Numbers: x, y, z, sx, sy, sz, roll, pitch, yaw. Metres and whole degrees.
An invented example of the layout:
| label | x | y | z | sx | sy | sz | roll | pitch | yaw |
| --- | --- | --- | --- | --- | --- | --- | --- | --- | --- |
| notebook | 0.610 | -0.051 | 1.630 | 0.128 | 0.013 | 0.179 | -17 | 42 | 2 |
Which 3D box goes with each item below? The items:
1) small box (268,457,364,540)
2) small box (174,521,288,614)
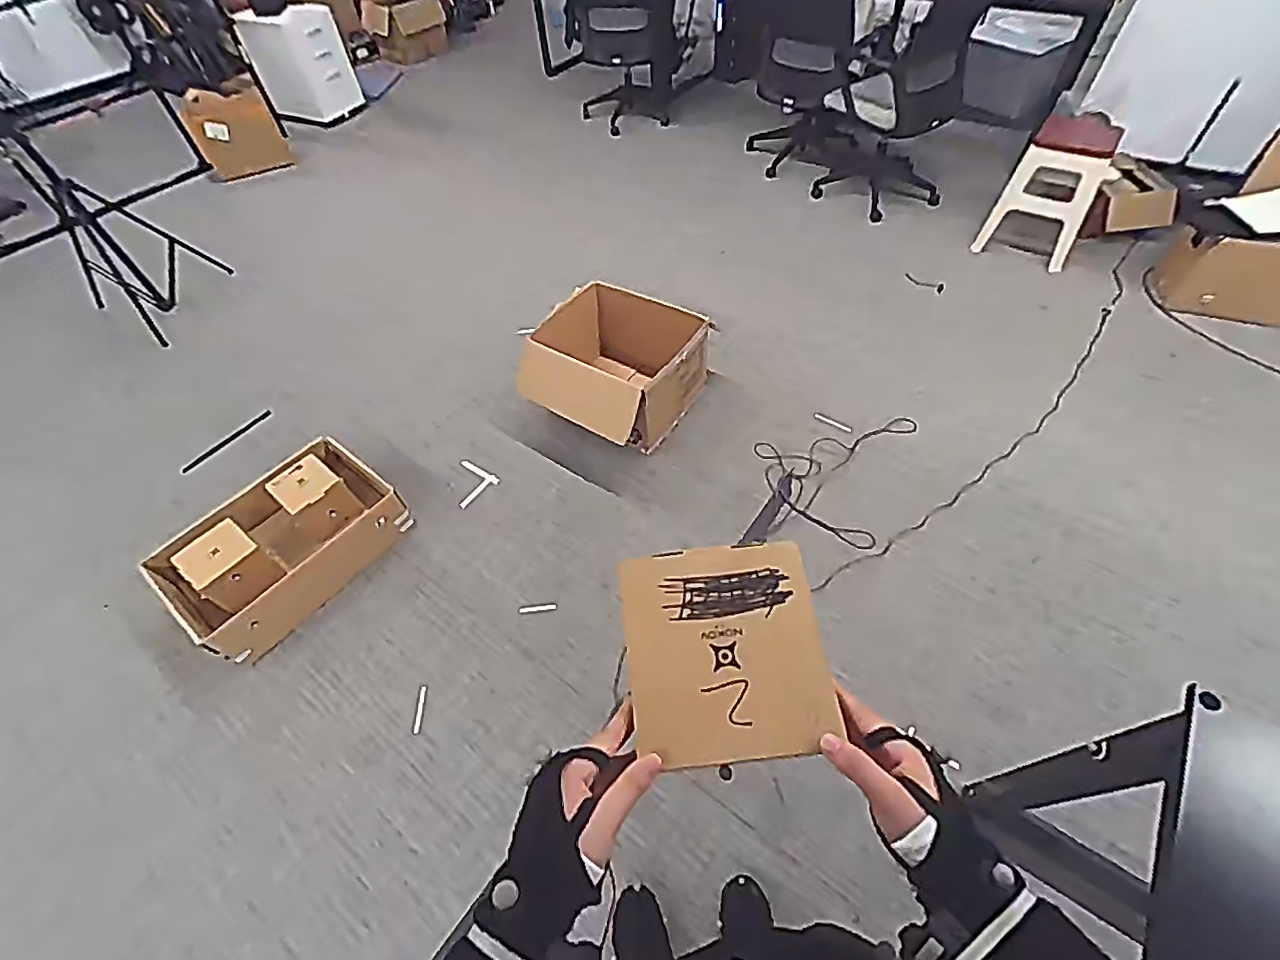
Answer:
| label | x | y | z | sx | sy | sz | roll | pitch | yaw |
| --- | --- | --- | --- | --- | --- | --- | --- | --- | --- |
| small box | -1.026 | 0.066 | 1.726 | 0.179 | 0.176 | 0.168 | 34 | 63 | 23 |
| small box | -1.192 | 0.261 | 1.590 | 0.168 | 0.176 | 0.179 | 31 | 59 | 22 |
